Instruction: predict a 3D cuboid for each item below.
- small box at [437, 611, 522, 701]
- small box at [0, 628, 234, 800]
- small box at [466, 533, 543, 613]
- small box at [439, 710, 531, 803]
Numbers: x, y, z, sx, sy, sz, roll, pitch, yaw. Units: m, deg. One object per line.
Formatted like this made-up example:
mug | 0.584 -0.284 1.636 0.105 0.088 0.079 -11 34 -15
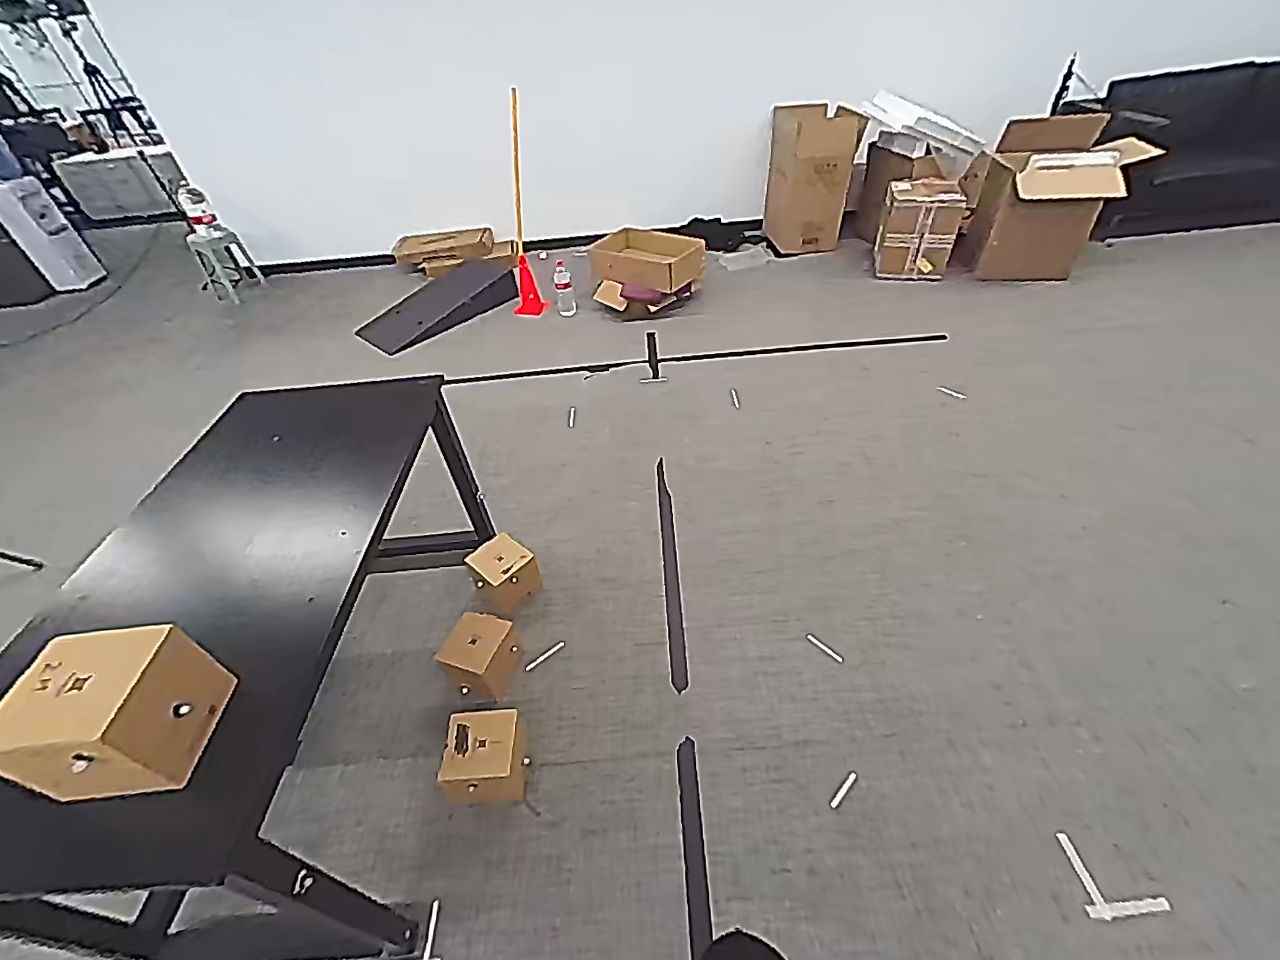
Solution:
small box | -0.470 0.528 1.622 0.168 0.176 0.179 9 45 17
small box | -0.741 0.336 0.774 0.179 0.176 0.168 -7 42 0
small box | -0.459 0.320 1.843 0.179 0.176 0.168 28 53 32
small box | -0.393 0.719 1.402 0.179 0.176 0.168 -4 43 0
